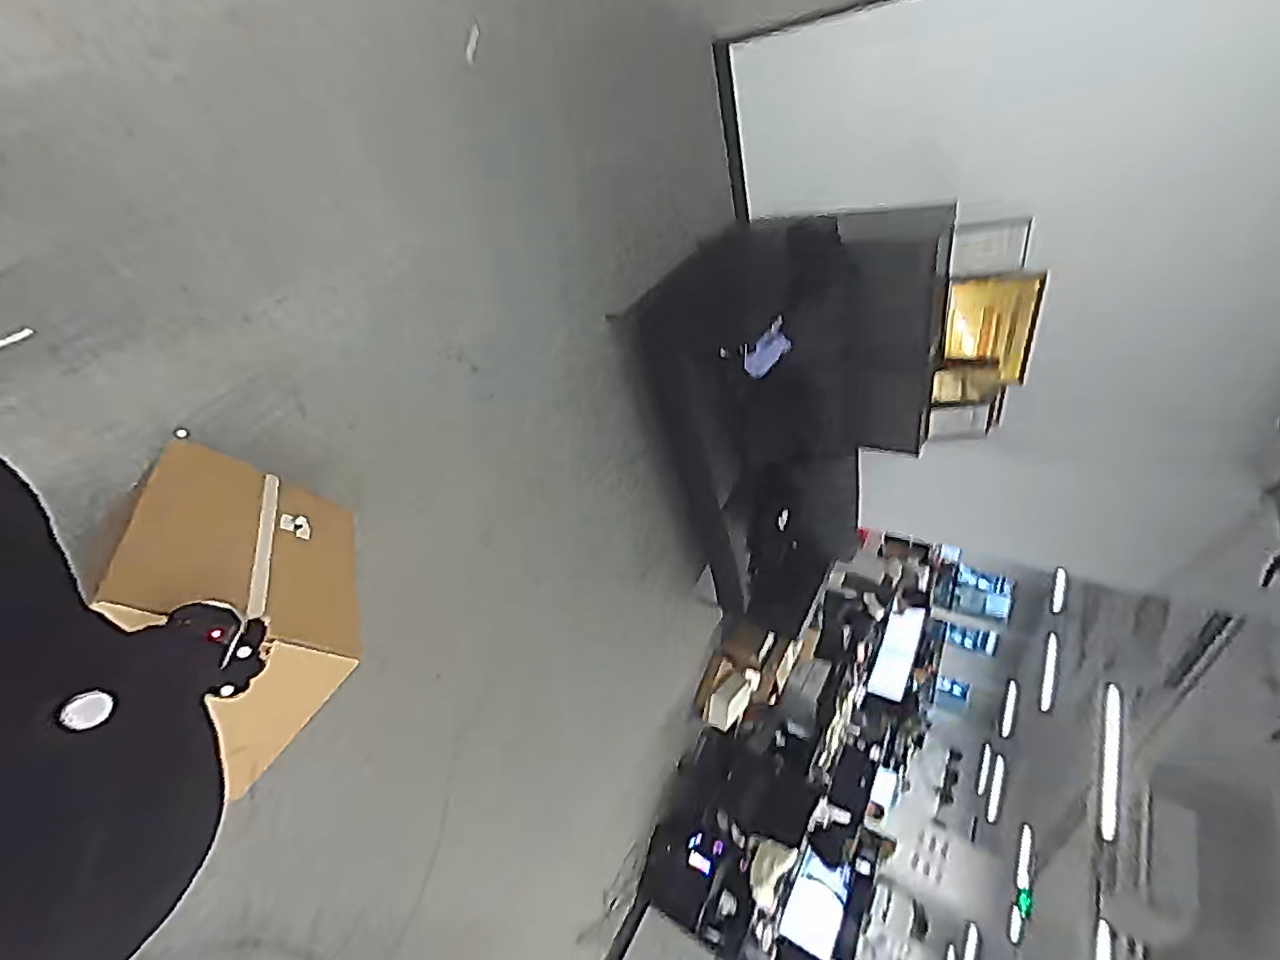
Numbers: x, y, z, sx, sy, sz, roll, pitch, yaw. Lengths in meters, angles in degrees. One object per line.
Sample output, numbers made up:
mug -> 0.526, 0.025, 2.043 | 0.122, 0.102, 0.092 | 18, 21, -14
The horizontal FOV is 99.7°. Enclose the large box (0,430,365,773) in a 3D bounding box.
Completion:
large box -> -0.692, 0.192, 0.872 | 0.320, 0.408, 0.320 | -49, 132, 7
